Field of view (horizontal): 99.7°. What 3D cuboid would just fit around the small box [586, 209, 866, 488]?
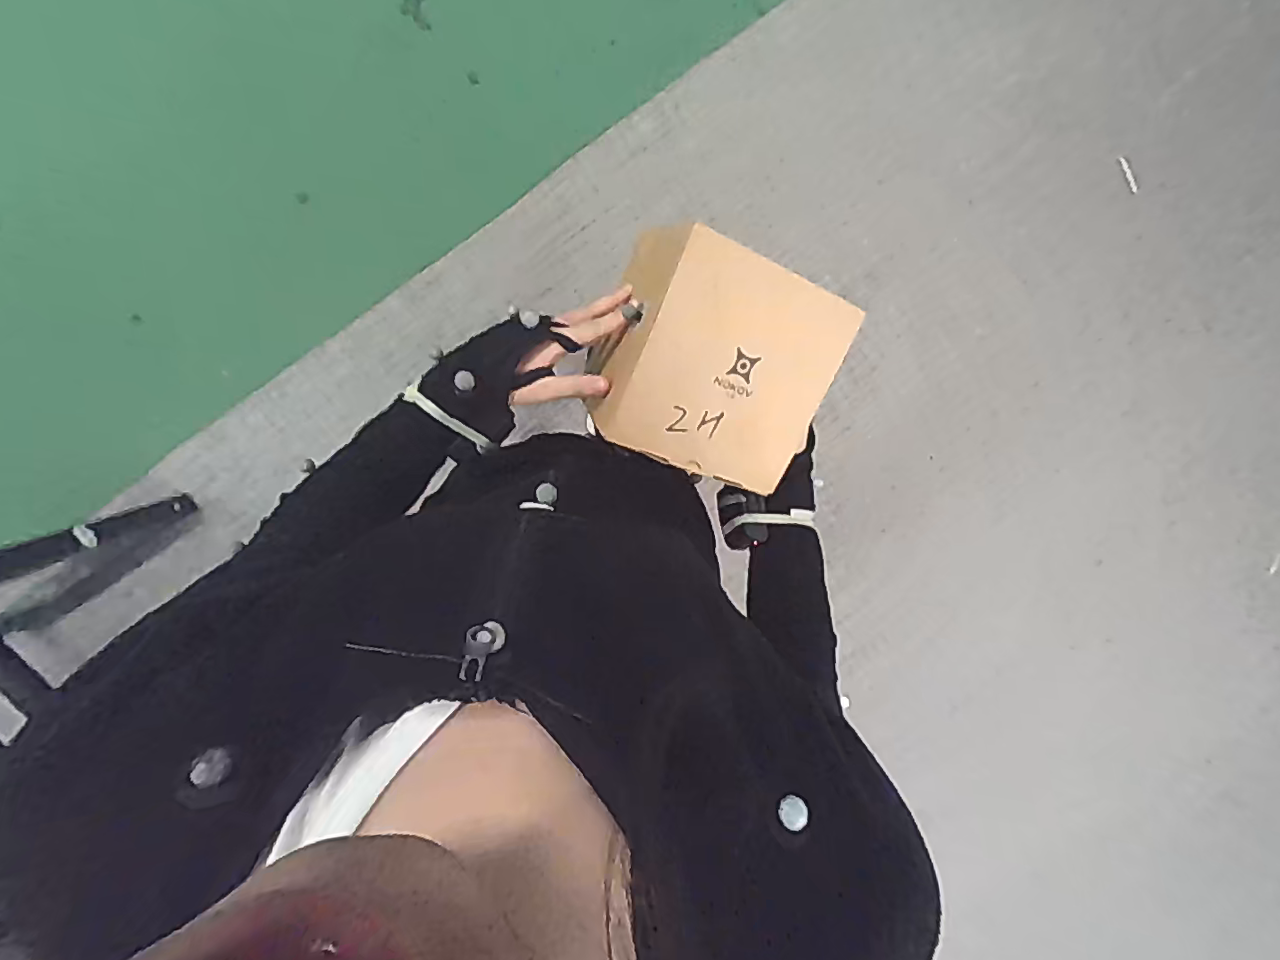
[{"bbox_3d":[0.060,-0.121,0.500,0.168,0.176,0.179,18,107,-21],"label":"small box"}]
